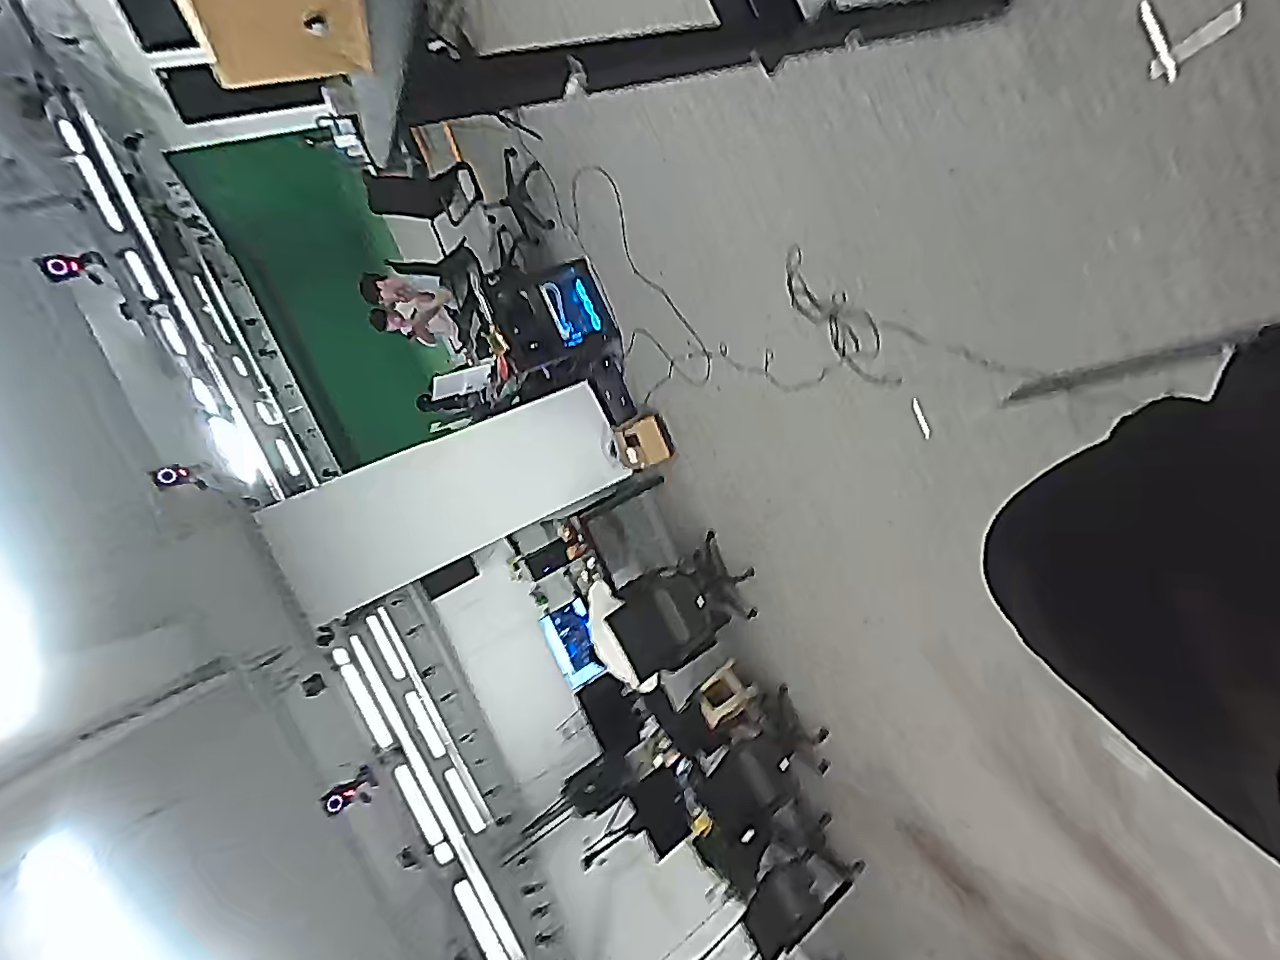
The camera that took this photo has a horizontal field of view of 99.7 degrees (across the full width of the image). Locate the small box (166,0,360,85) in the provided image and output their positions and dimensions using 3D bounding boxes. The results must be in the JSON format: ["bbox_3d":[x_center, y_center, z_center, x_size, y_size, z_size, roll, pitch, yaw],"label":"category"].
[{"bbox_3d":[-0.421,-0.564,0.564,0.179,0.176,0.168,62,158,0],"label":"small box"}]
